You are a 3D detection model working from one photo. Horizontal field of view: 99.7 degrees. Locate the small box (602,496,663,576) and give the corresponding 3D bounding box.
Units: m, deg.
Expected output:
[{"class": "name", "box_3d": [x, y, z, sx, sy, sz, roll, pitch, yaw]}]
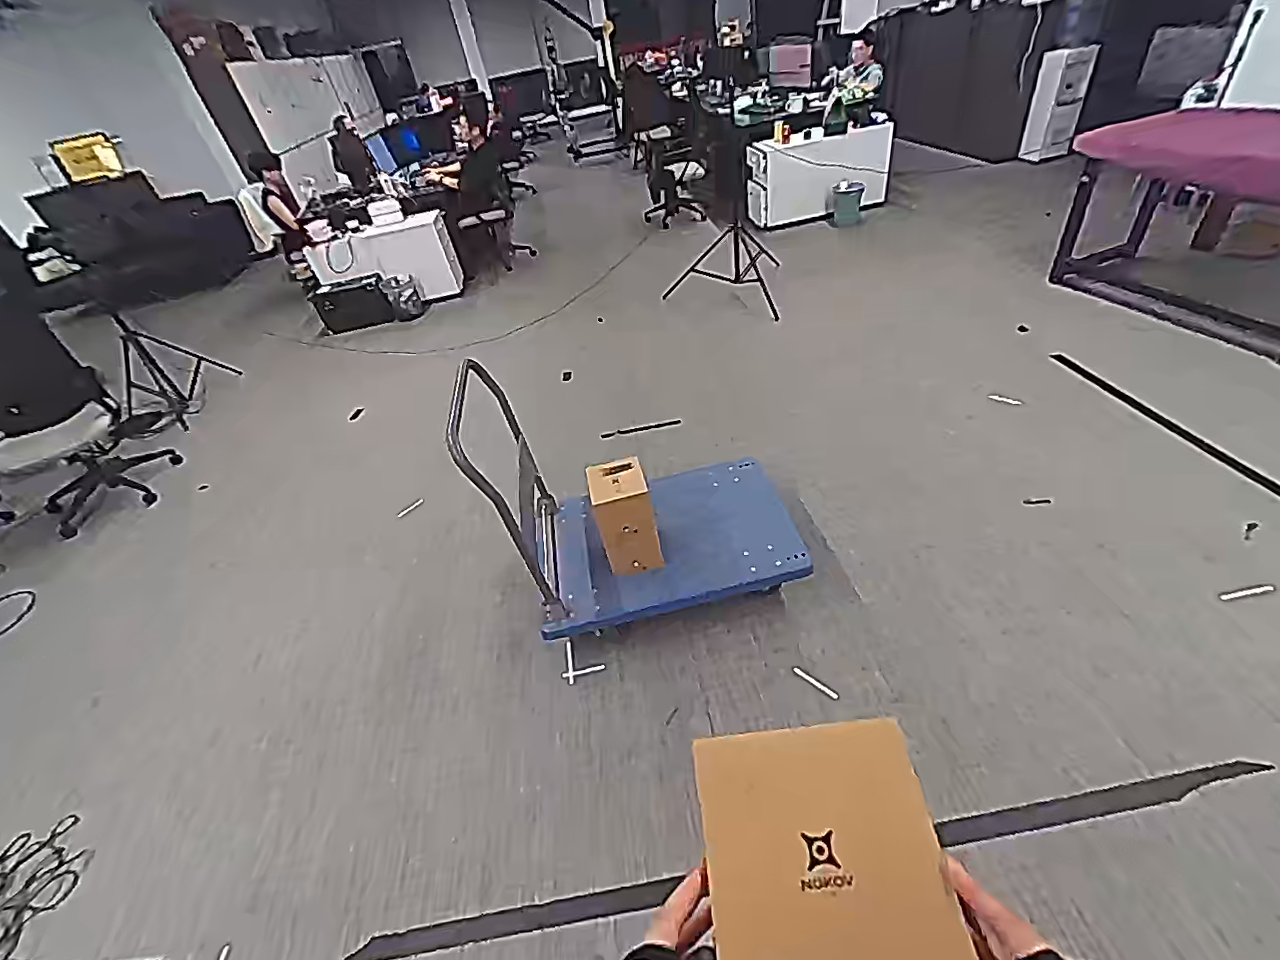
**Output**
[{"class": "small box", "box_3d": [-0.024, 0.182, 1.749, 0.168, 0.176, 0.179, -12, 40, 2]}]
